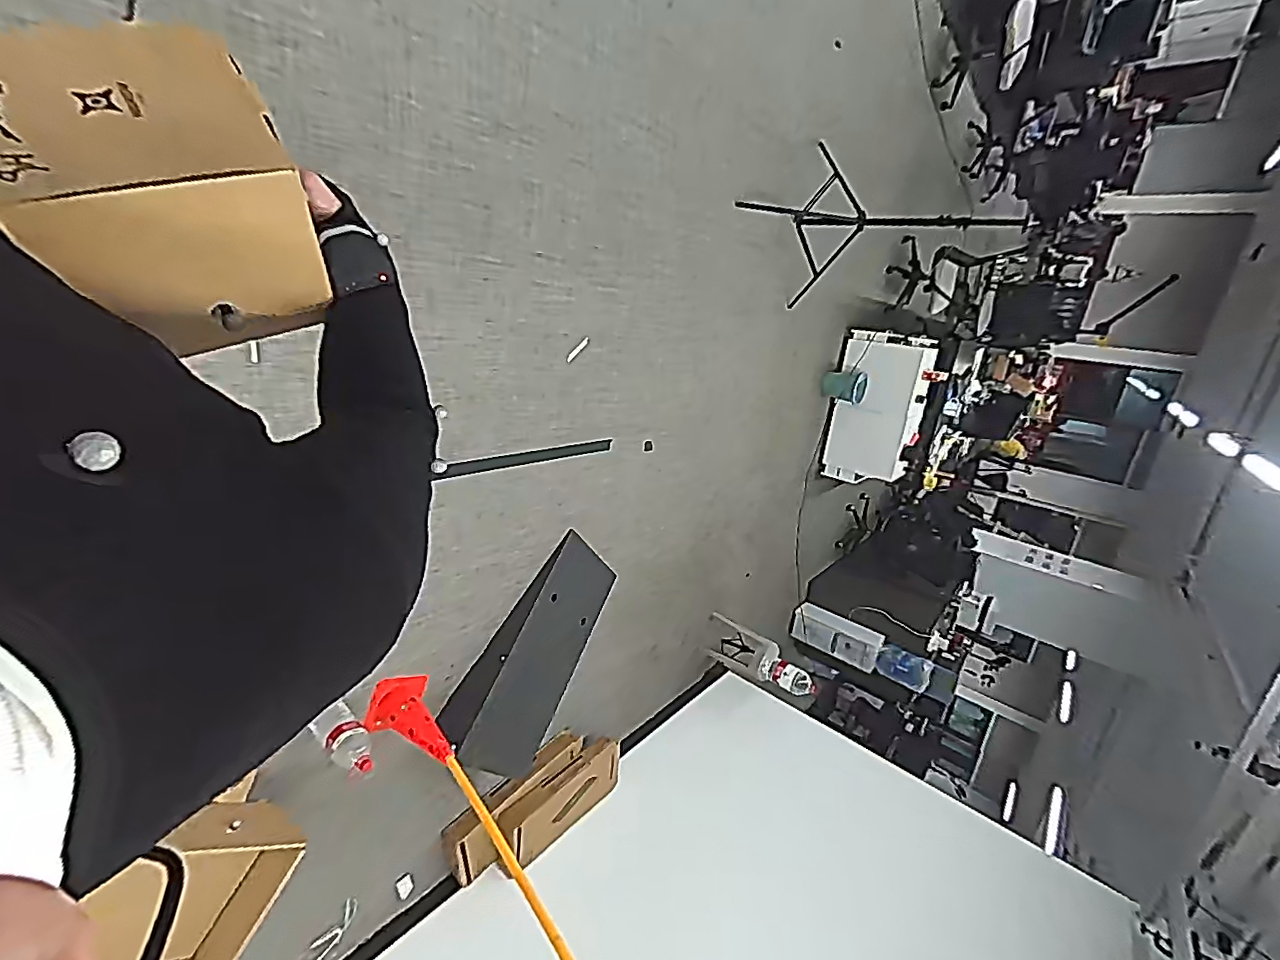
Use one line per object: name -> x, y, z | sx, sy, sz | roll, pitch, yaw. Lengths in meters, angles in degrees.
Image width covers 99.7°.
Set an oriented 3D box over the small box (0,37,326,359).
small box -> -0.396, -0.234, 0.464 | 0.179, 0.168, 0.176 | -27, 165, -27
